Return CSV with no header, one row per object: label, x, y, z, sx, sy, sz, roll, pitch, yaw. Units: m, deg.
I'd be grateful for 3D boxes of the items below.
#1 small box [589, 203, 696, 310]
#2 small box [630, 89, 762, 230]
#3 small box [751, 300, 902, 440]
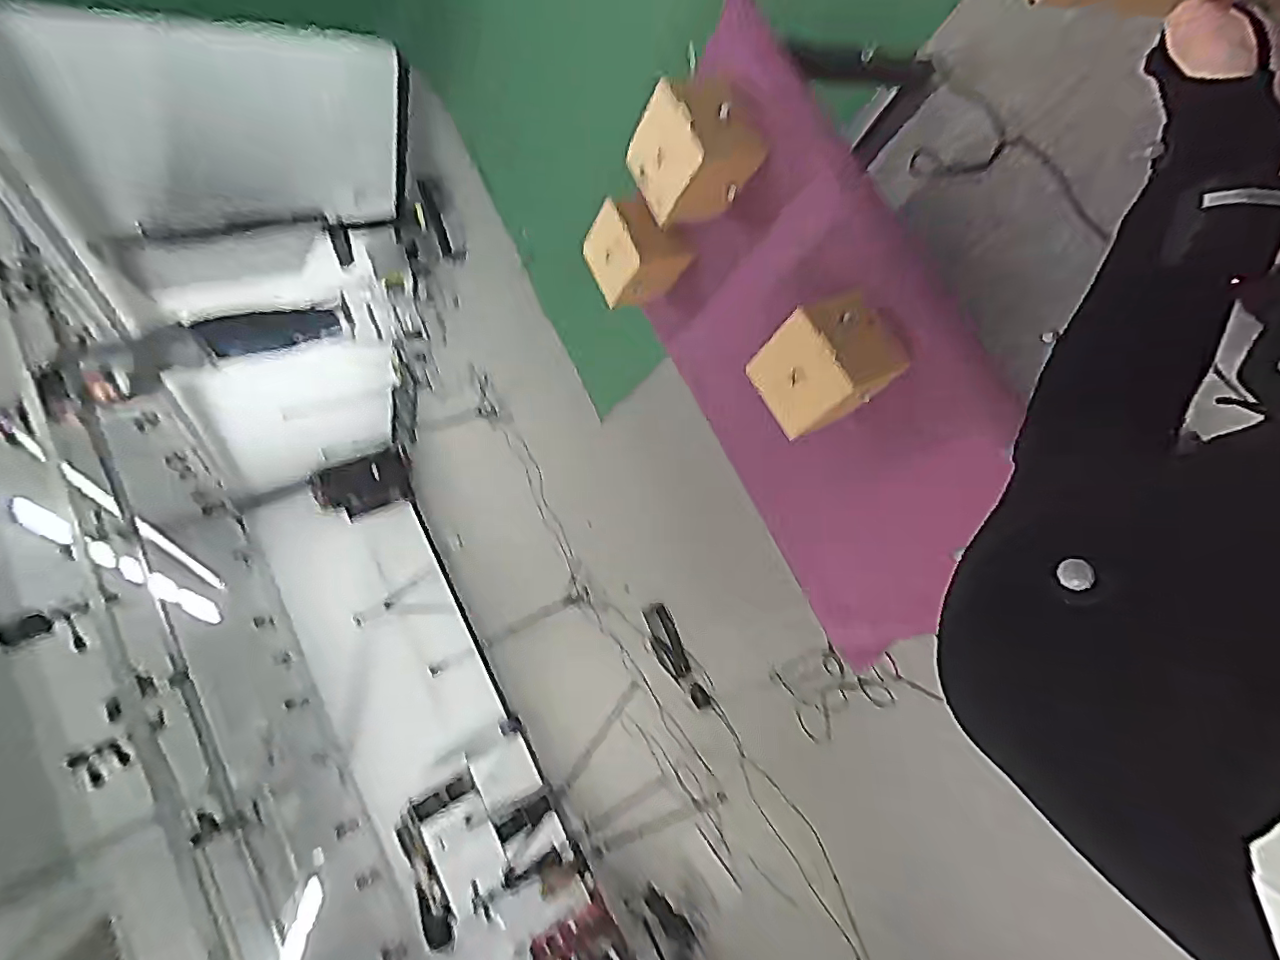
small box,0.006,-0.539,1.304,0.168,0.176,0.179,64,149,5
small box,0.115,-0.630,1.067,0.168,0.176,0.179,64,151,5
small box,0.345,-0.204,0.990,0.168,0.176,0.179,61,151,12
